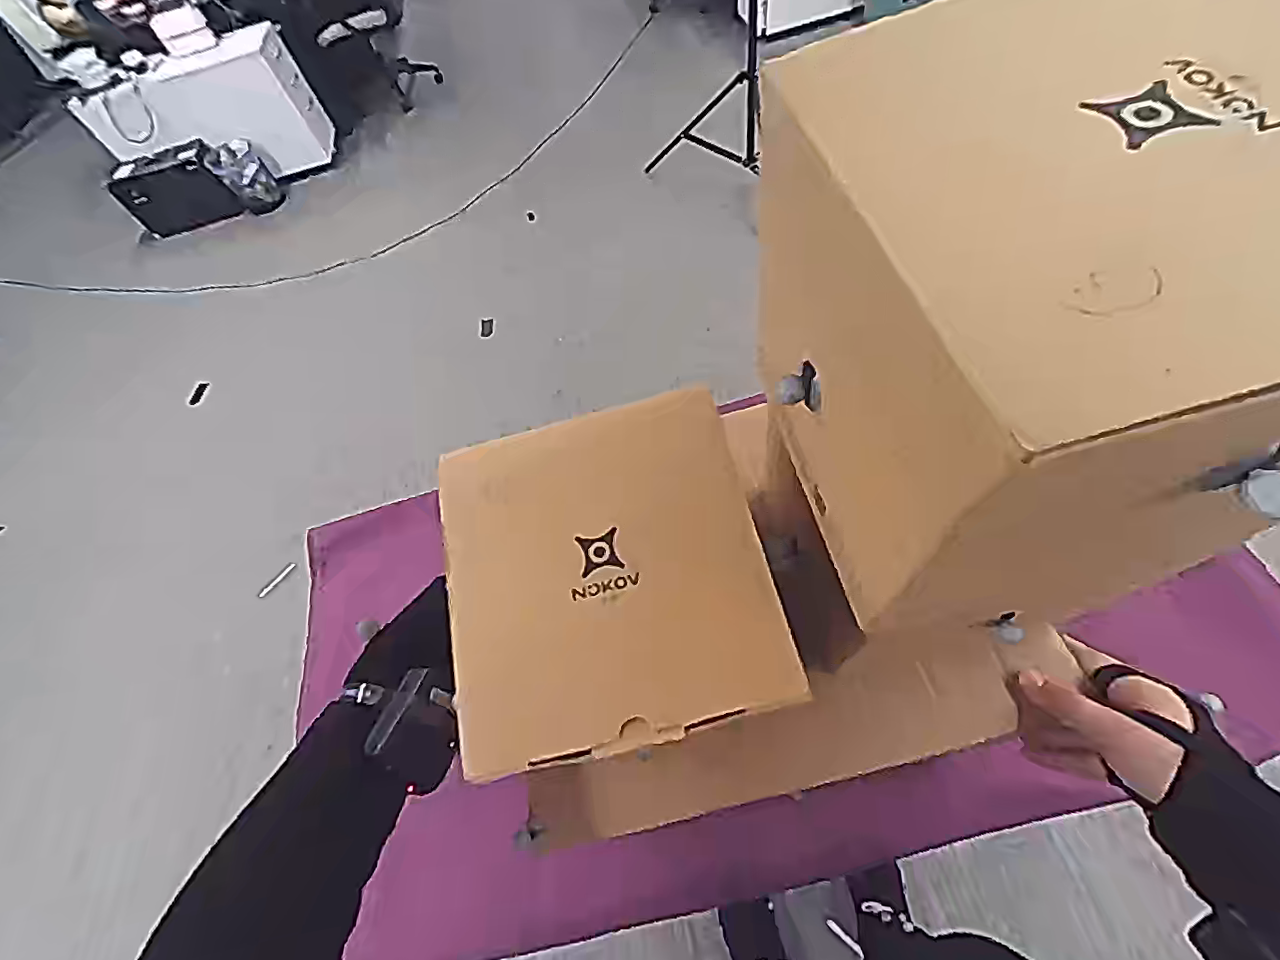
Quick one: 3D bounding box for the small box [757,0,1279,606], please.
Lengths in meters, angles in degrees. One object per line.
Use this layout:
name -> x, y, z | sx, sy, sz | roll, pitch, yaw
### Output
small box -> 0.153, -0.064, 0.210 | 0.179, 0.176, 0.168 | -15, 62, 3

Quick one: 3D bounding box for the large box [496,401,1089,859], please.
large box -> 0.110, 0.146, 0.573 | 0.408, 0.320, 0.320 | -16, 60, 2
